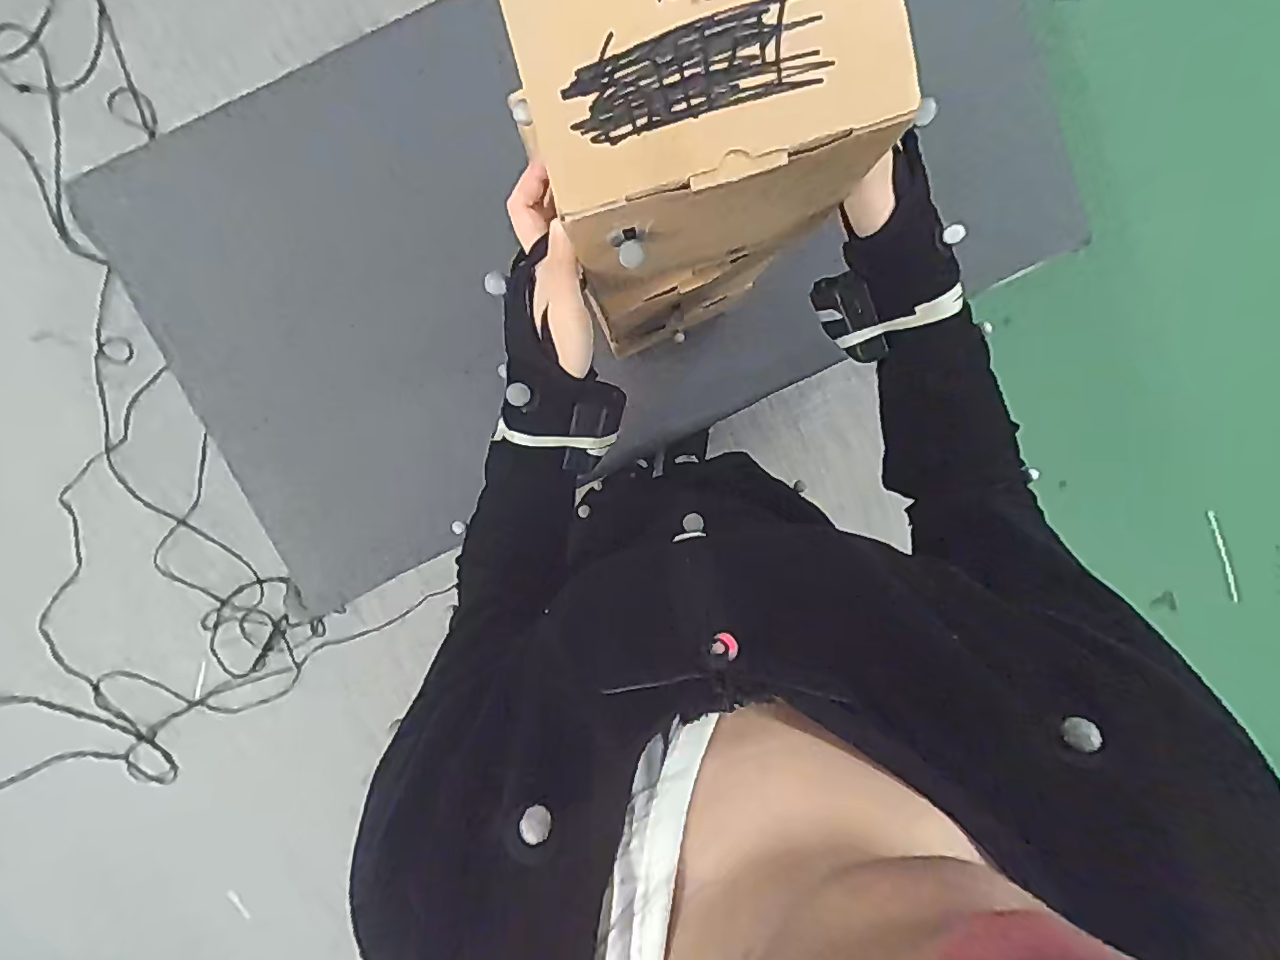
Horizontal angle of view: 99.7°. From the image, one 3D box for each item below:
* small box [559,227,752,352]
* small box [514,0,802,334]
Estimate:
[{"bbox_3d":[0.008,-0.268,0.639,0.168,0.176,0.179,-25,99,2],"label":"small box"},{"bbox_3d":[0.011,-0.248,0.478,0.168,0.176,0.179,-25,99,2],"label":"small box"}]
